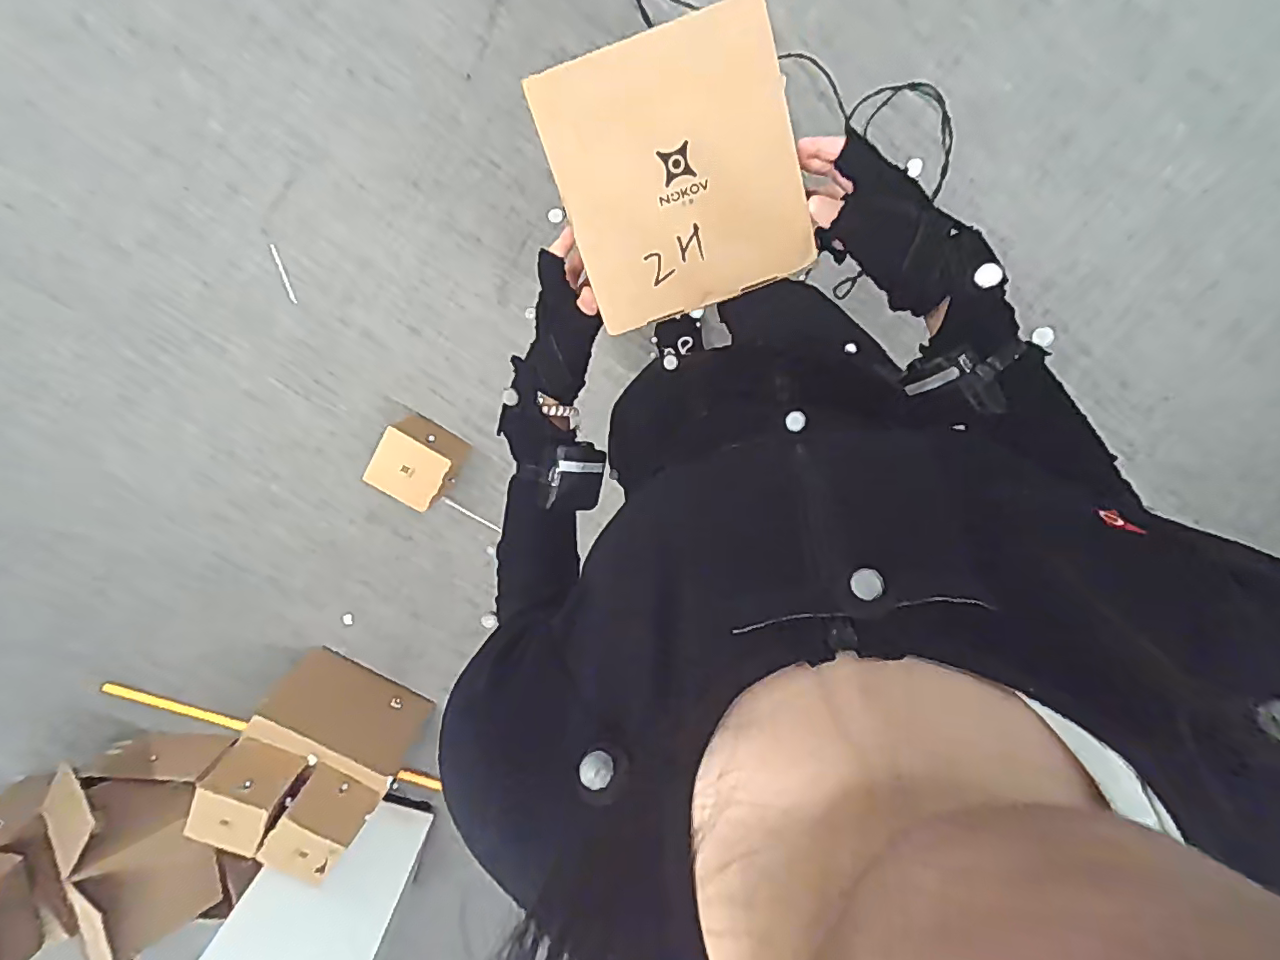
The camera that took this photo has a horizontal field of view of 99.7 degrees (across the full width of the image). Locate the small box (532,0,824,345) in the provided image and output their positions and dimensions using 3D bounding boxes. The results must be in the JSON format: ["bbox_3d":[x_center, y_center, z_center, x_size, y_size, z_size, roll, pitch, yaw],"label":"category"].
[{"bbox_3d":[0.028,-0.225,0.445,0.168,0.176,0.179,-17,109,5],"label":"small box"}]

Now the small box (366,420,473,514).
[{"bbox_3d":[-0.568,-0.043,1.413,0.179,0.176,0.168,31,106,-9],"label":"small box"}]
